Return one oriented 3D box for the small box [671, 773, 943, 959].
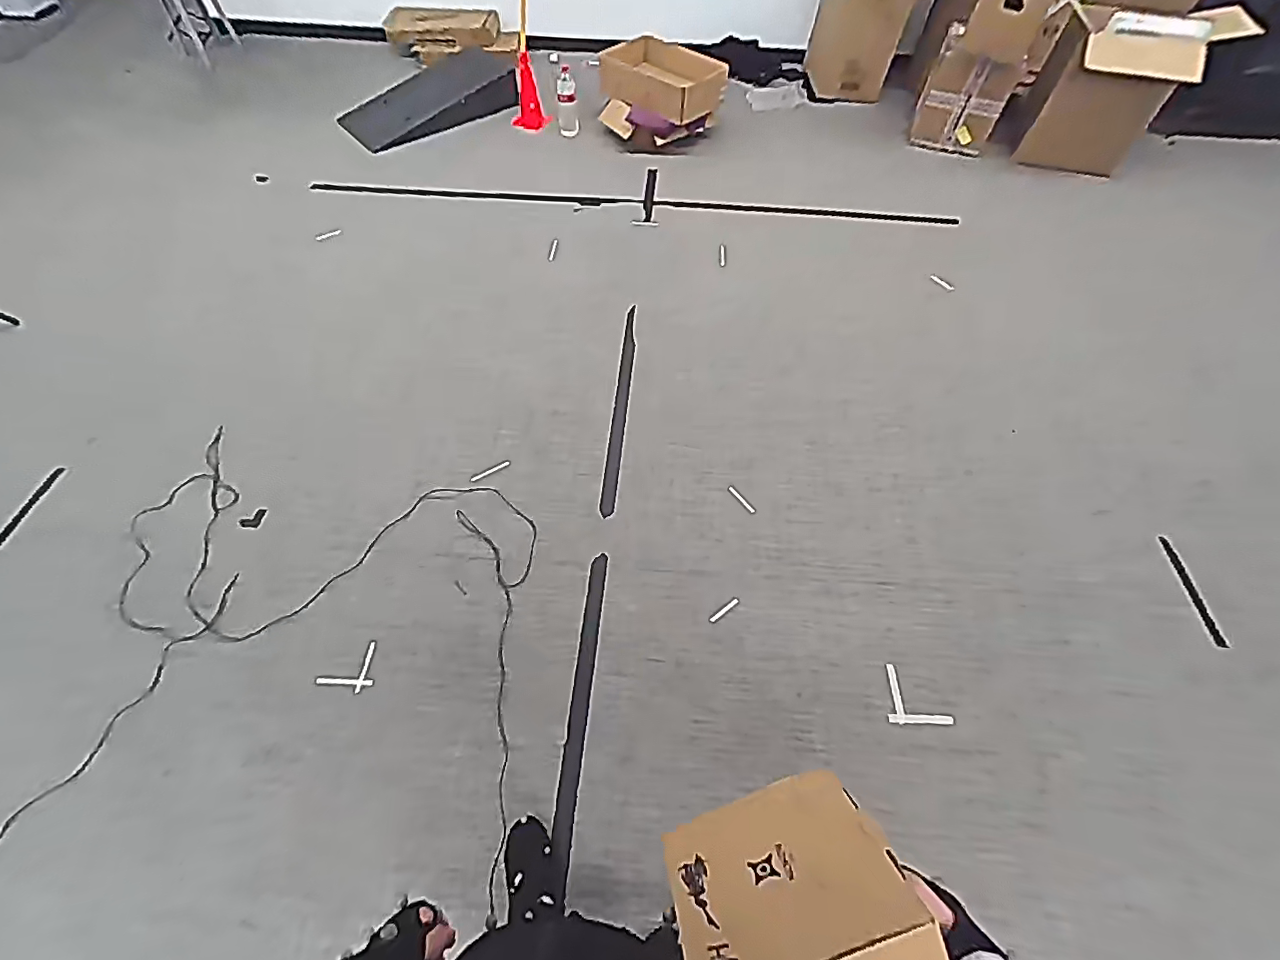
[{"bbox_3d":[0.142,0.401,0.462,0.179,0.168,0.176,-19,96,-2],"label":"small box"}]
